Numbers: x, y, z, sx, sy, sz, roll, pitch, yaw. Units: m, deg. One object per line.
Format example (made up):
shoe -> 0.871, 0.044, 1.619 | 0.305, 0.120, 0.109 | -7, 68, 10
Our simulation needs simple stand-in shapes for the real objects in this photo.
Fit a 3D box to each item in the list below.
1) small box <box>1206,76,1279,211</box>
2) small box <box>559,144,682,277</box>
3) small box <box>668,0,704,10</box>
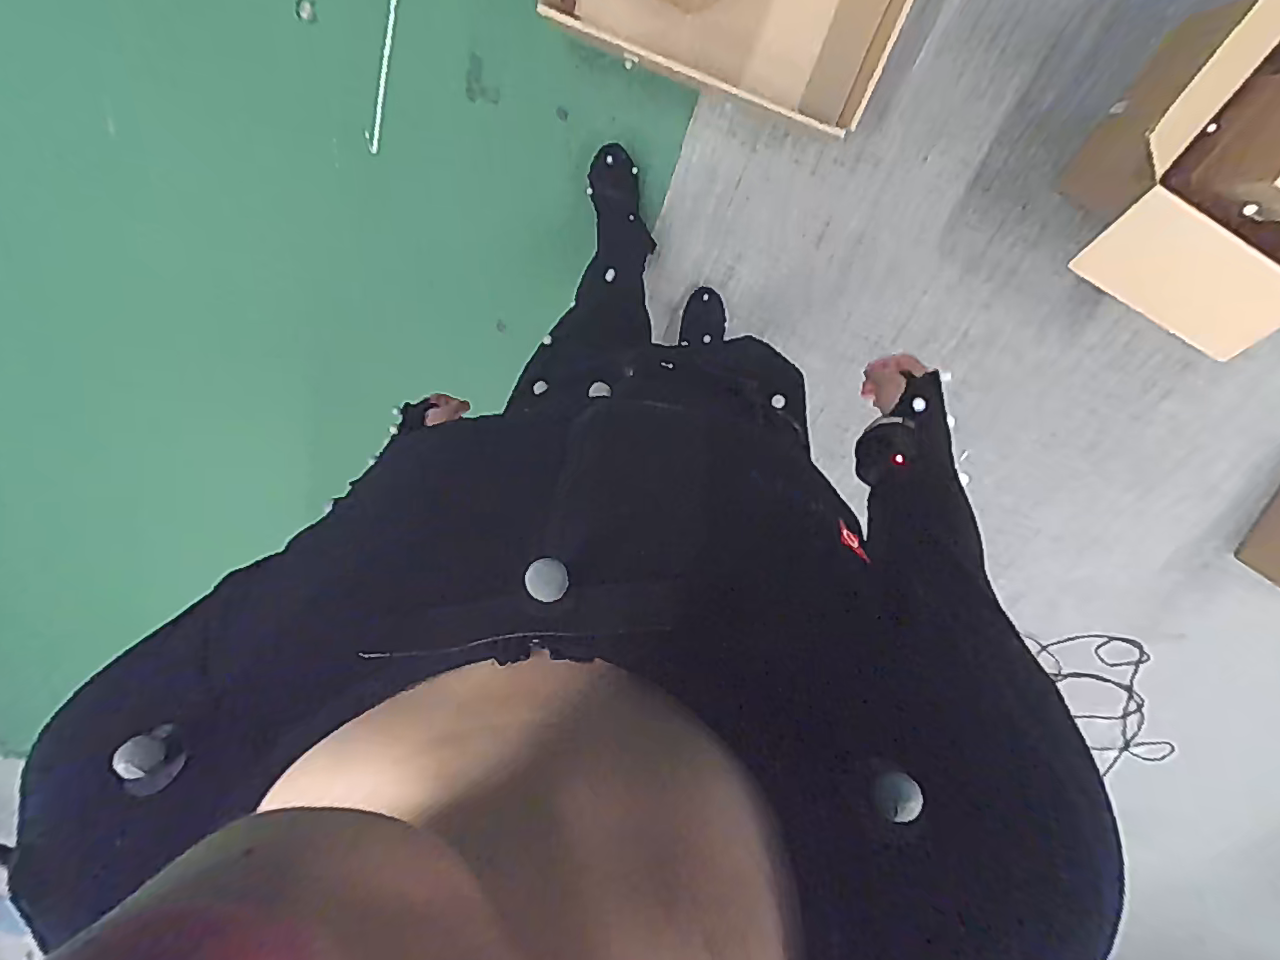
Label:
small box -> 1.102, -0.551, 0.870 | 0.168, 0.176, 0.179 | 21, 118, -2
small box -> -0.034, -0.571, 1.153 | 0.176, 0.168, 0.179 | 28, 102, -45
small box -> 0.055, -0.951, 0.919 | 0.179, 0.176, 0.168 | 20, 116, -6
